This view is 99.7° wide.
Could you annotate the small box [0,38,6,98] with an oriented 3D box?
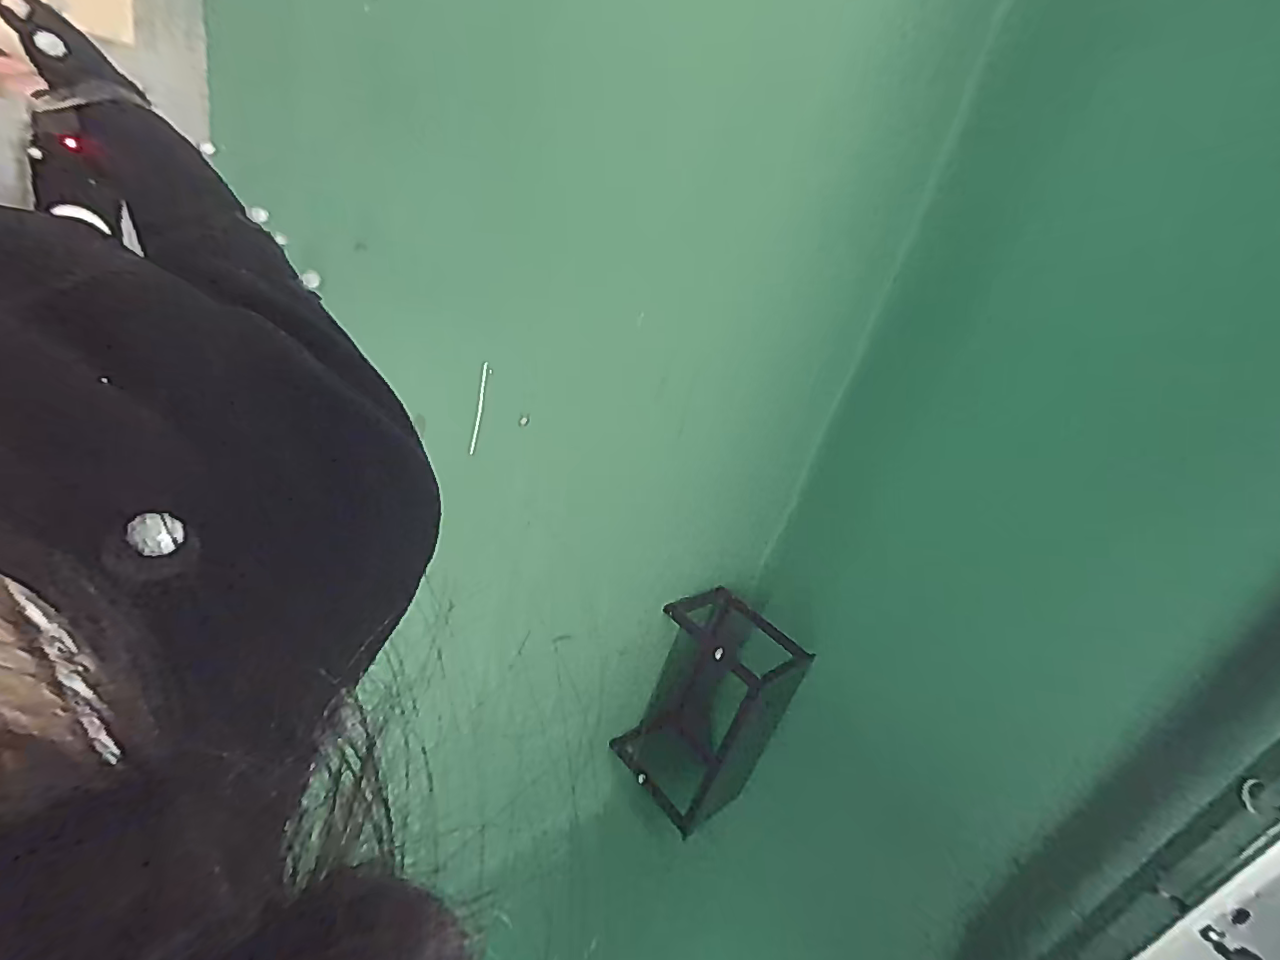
[{"bbox_3d":[-0.638,-0.435,0.413,0.168,0.176,0.179,-19,110,-43],"label":"small box"}]
